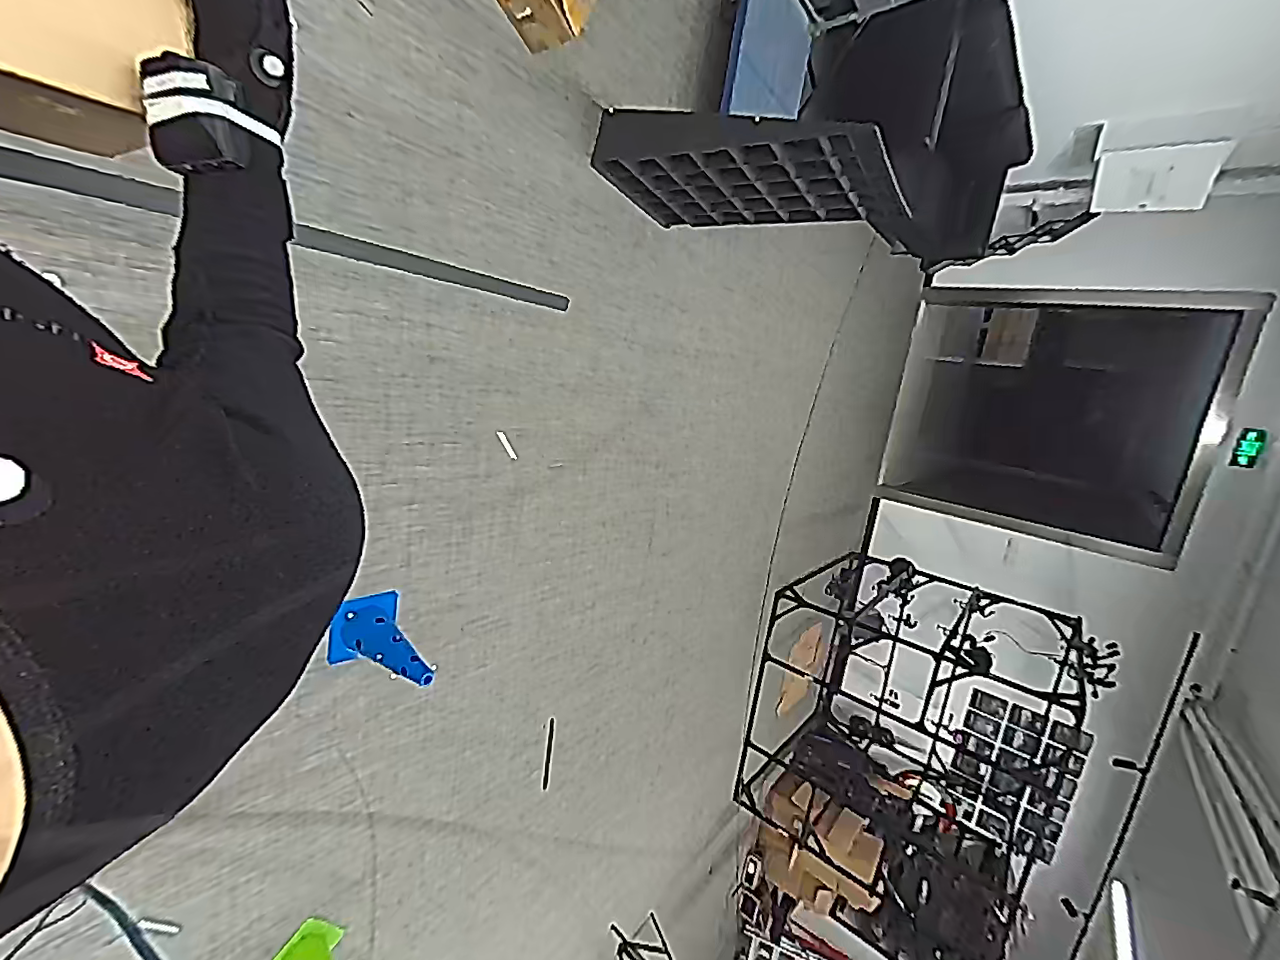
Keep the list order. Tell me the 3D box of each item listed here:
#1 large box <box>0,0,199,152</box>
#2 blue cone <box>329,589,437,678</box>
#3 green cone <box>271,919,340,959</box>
[{"bbox_3d":[-0.553,-0.430,0.303,0.408,0.320,0.320,-10,114,-53],"label":"large box"},{"bbox_3d":[-0.717,0.476,1.558,0.192,0.380,0.193,-1,105,-54],"label":"blue cone"},{"bbox_3d":[-0.966,1.577,1.646,0.202,0.368,0.200,-49,139,-31],"label":"green cone"}]
